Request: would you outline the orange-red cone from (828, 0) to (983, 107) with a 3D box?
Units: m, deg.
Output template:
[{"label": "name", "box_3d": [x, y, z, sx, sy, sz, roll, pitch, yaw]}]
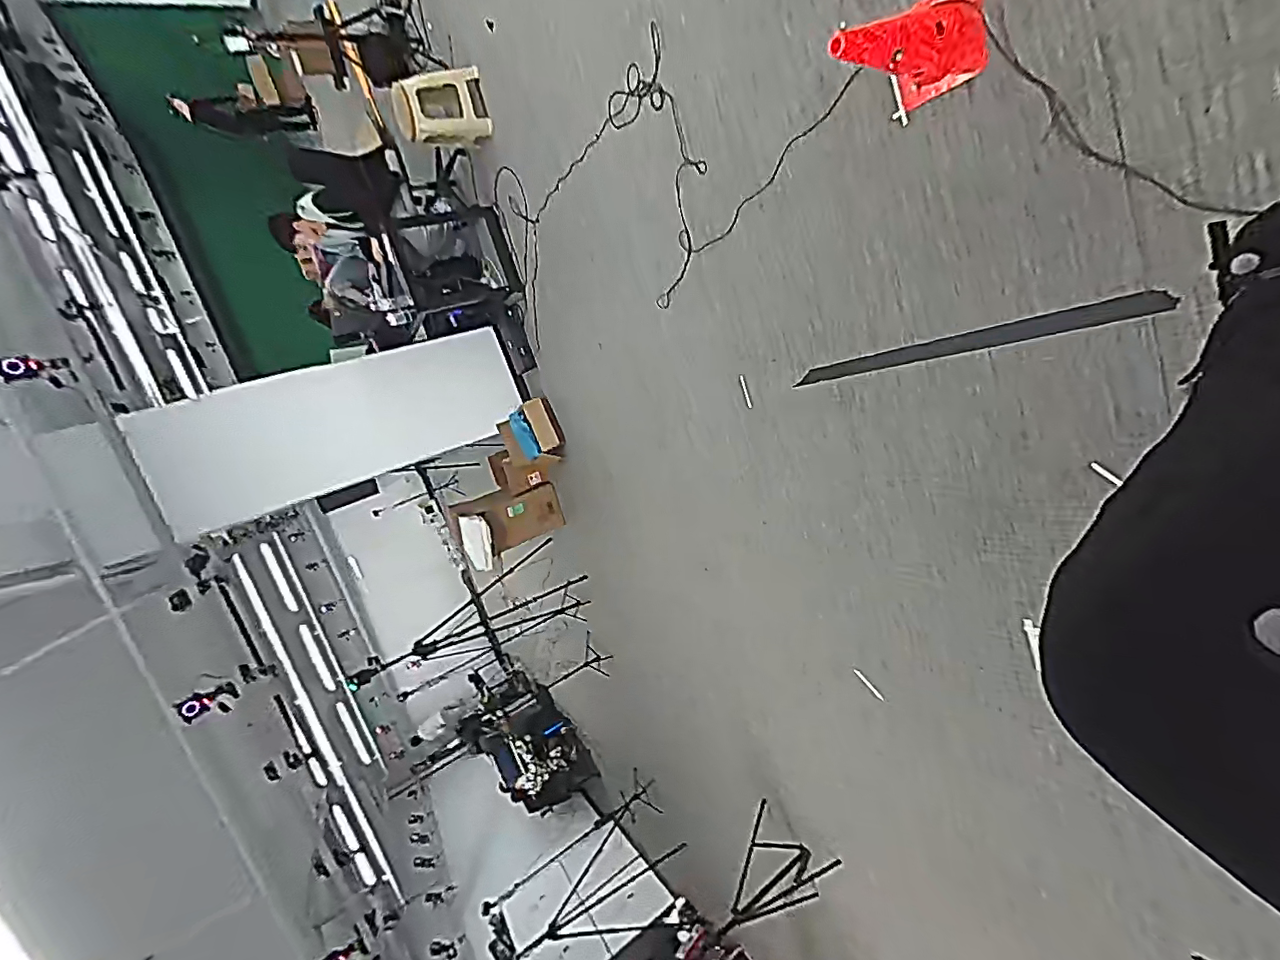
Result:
[{"label": "orange-red cone", "box_3d": [0.533, -0.931, 1.152, 0.199, 0.360, 0.198, 11, 121, 58]}]
